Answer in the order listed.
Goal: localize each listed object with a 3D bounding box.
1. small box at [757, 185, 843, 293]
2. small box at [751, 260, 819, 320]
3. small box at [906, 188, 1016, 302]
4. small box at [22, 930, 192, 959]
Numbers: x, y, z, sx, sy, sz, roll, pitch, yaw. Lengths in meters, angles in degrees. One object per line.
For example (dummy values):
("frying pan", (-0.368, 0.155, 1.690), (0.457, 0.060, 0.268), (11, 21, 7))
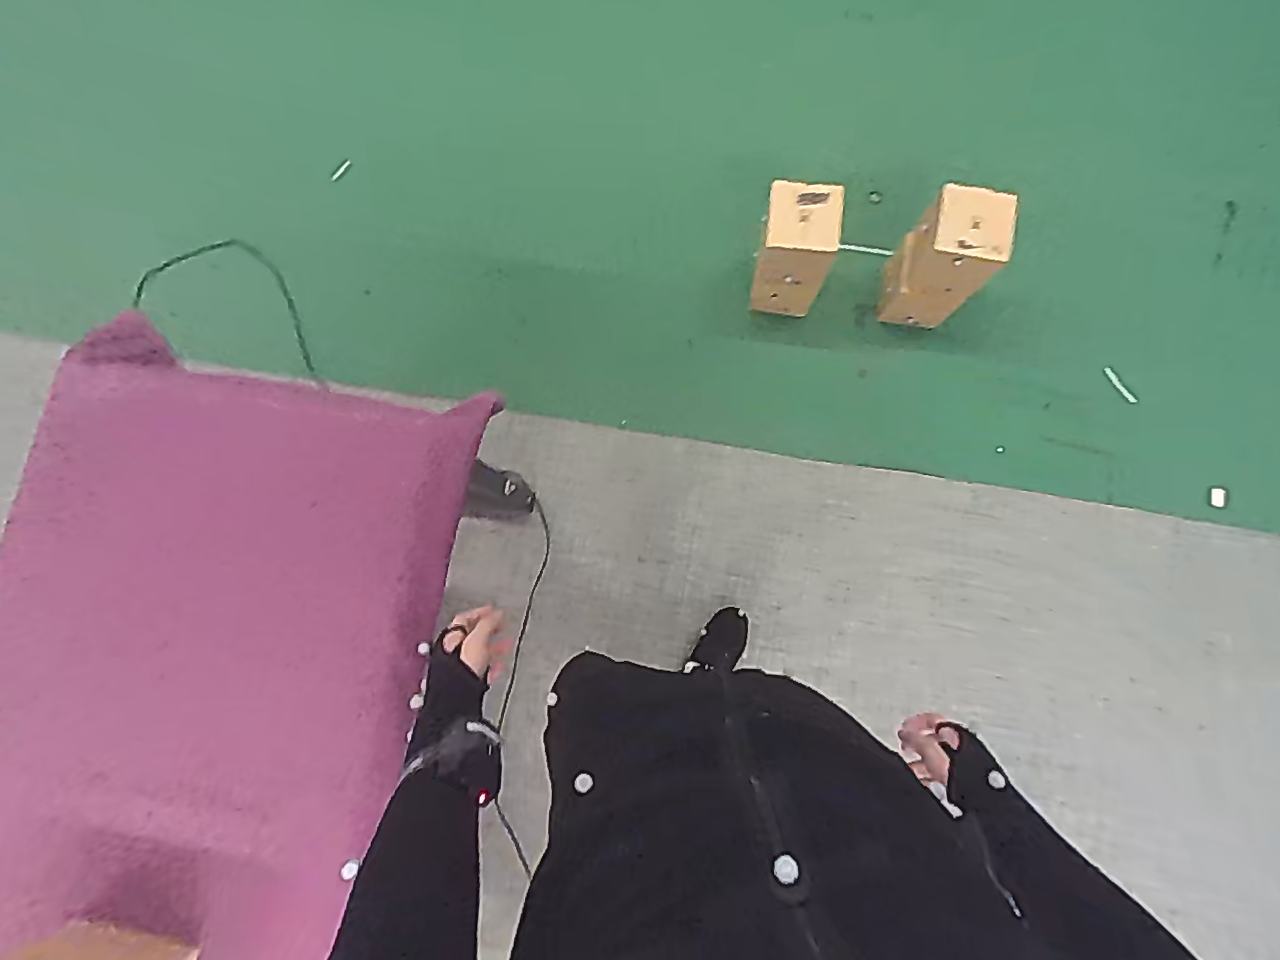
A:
("small box", (0.391, -0.593, 1.344), (0.168, 0.176, 0.179), (7, 81, 5))
("small box", (0.409, -0.569, 1.507), (0.168, 0.176, 0.179), (10, 80, 5))
("small box", (0.774, -0.568, 1.320), (0.168, 0.176, 0.179), (13, 80, 5))
("small box", (-0.660, 0.647, 0.595), (0.179, 0.176, 0.168), (10, 80, 4))
